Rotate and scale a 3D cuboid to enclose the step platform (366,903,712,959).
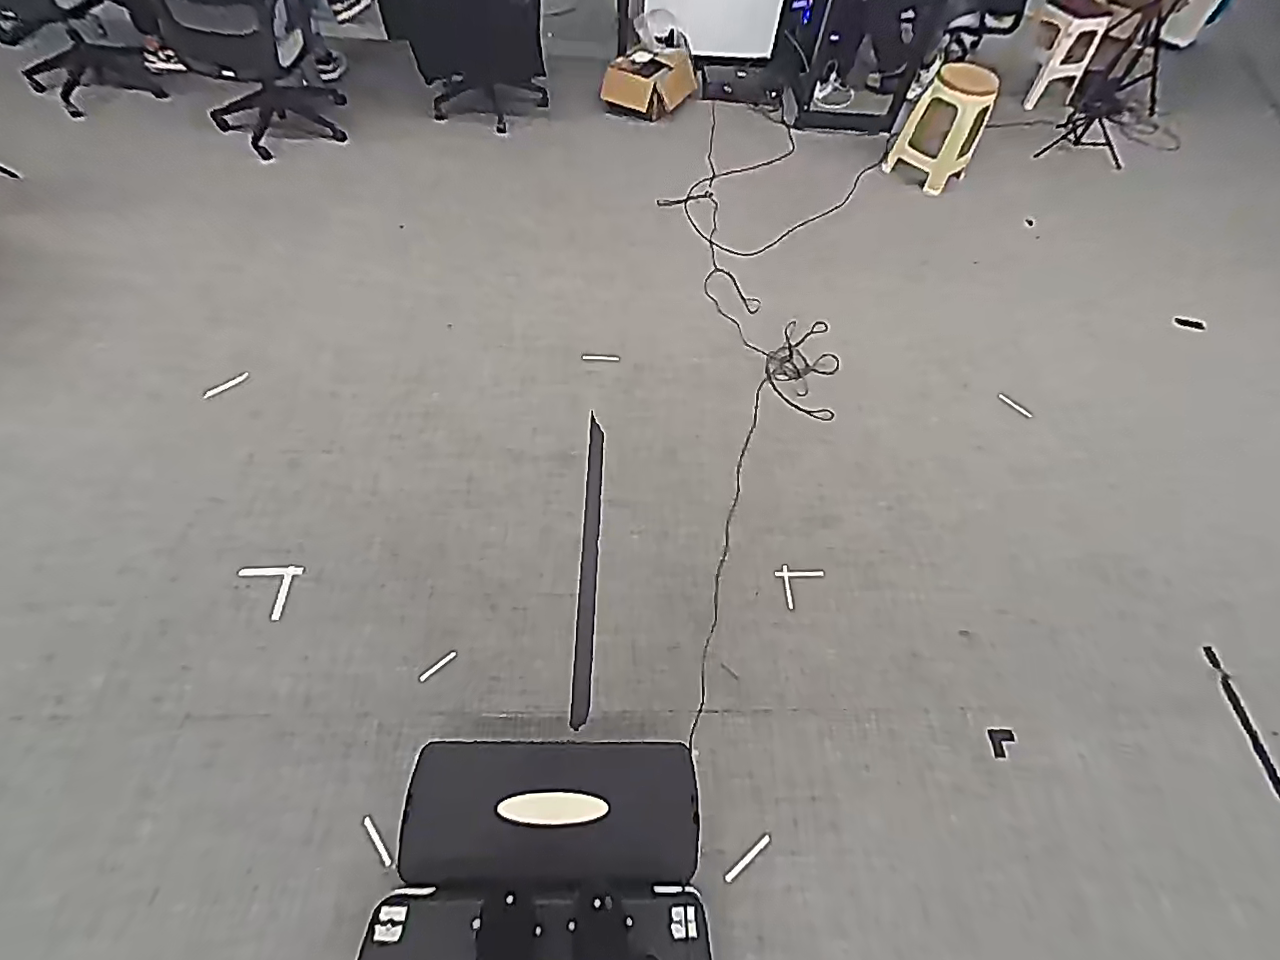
[{"bbox_3d":[-0.193,1.019,1.033,0.684,0.204,0.286,5,56,1],"label":"step platform"}]
